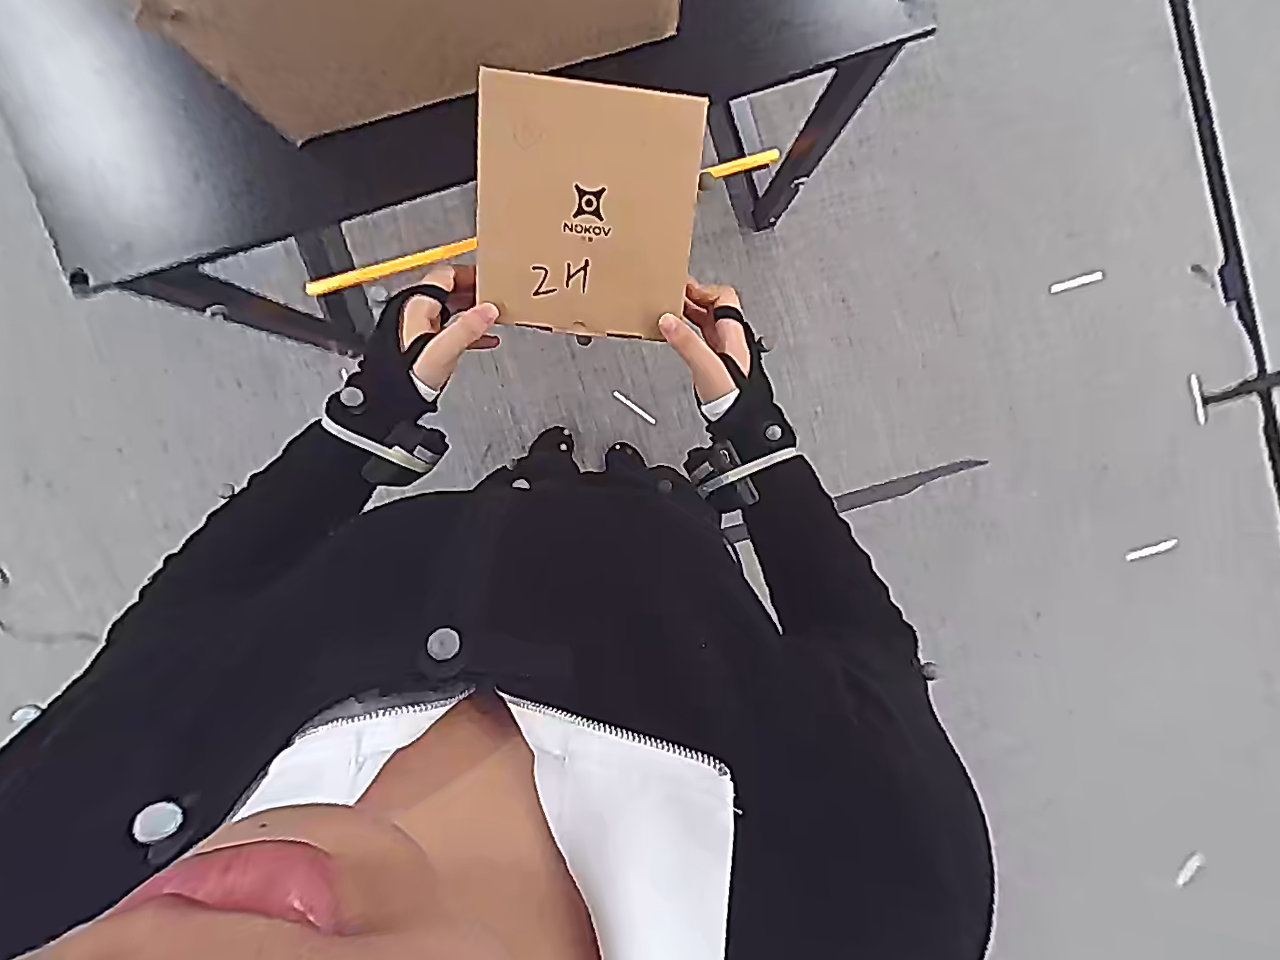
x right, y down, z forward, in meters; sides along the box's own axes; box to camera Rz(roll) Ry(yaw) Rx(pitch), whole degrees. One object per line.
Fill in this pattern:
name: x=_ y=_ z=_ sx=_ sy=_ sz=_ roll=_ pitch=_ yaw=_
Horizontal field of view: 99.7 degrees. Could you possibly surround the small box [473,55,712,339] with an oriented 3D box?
small box: x=-0.043 y=-0.227 z=0.482 sx=0.168 sy=0.176 sz=0.179 roll=6 pitch=106 yaw=-4
